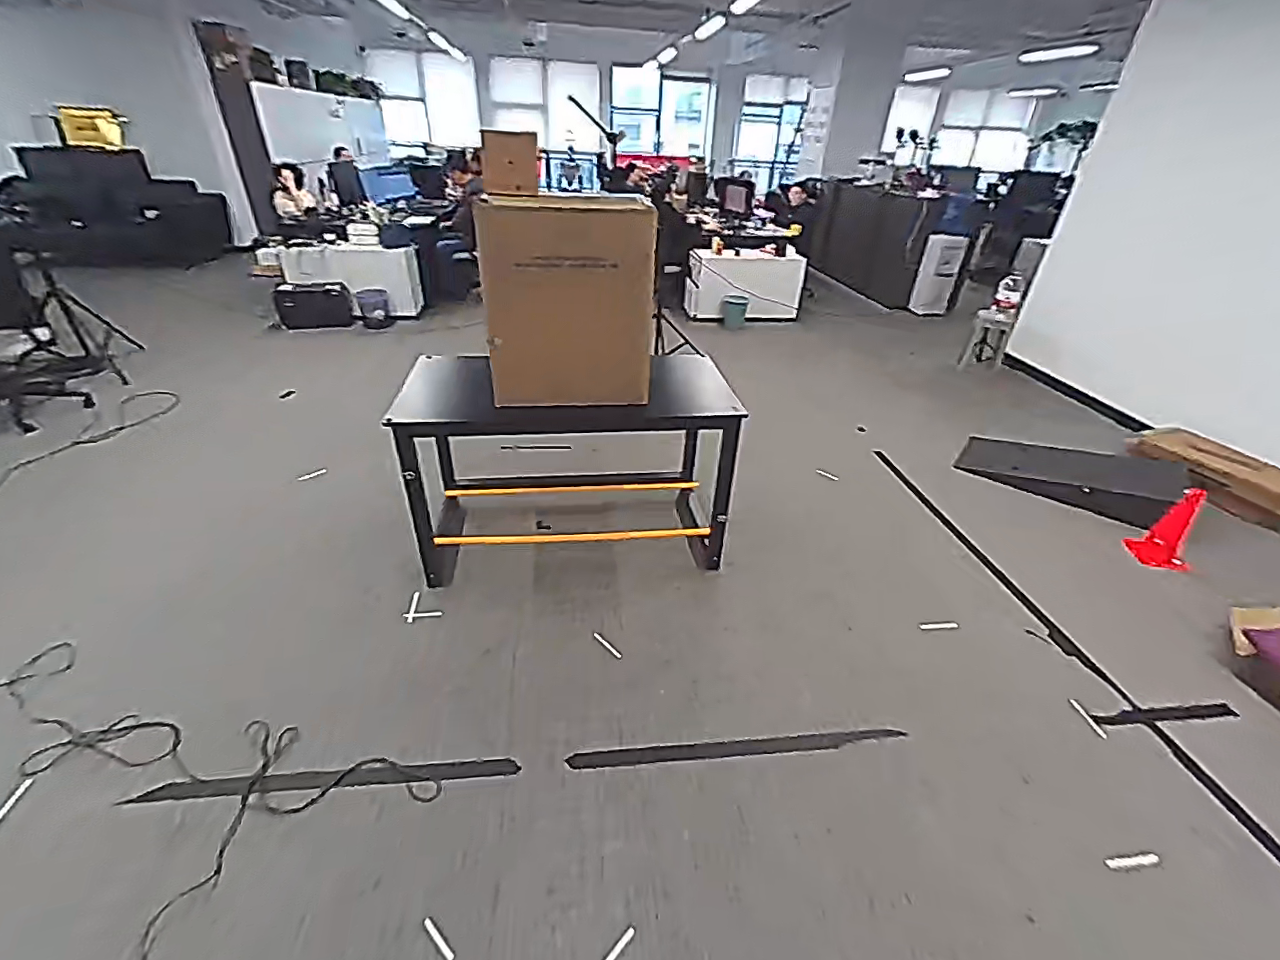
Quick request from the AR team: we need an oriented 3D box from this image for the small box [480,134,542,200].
[{"bbox_3d":[-0.394,-0.974,1.681,0.168,0.176,0.179,-1,32,-8],"label":"small box"}]
